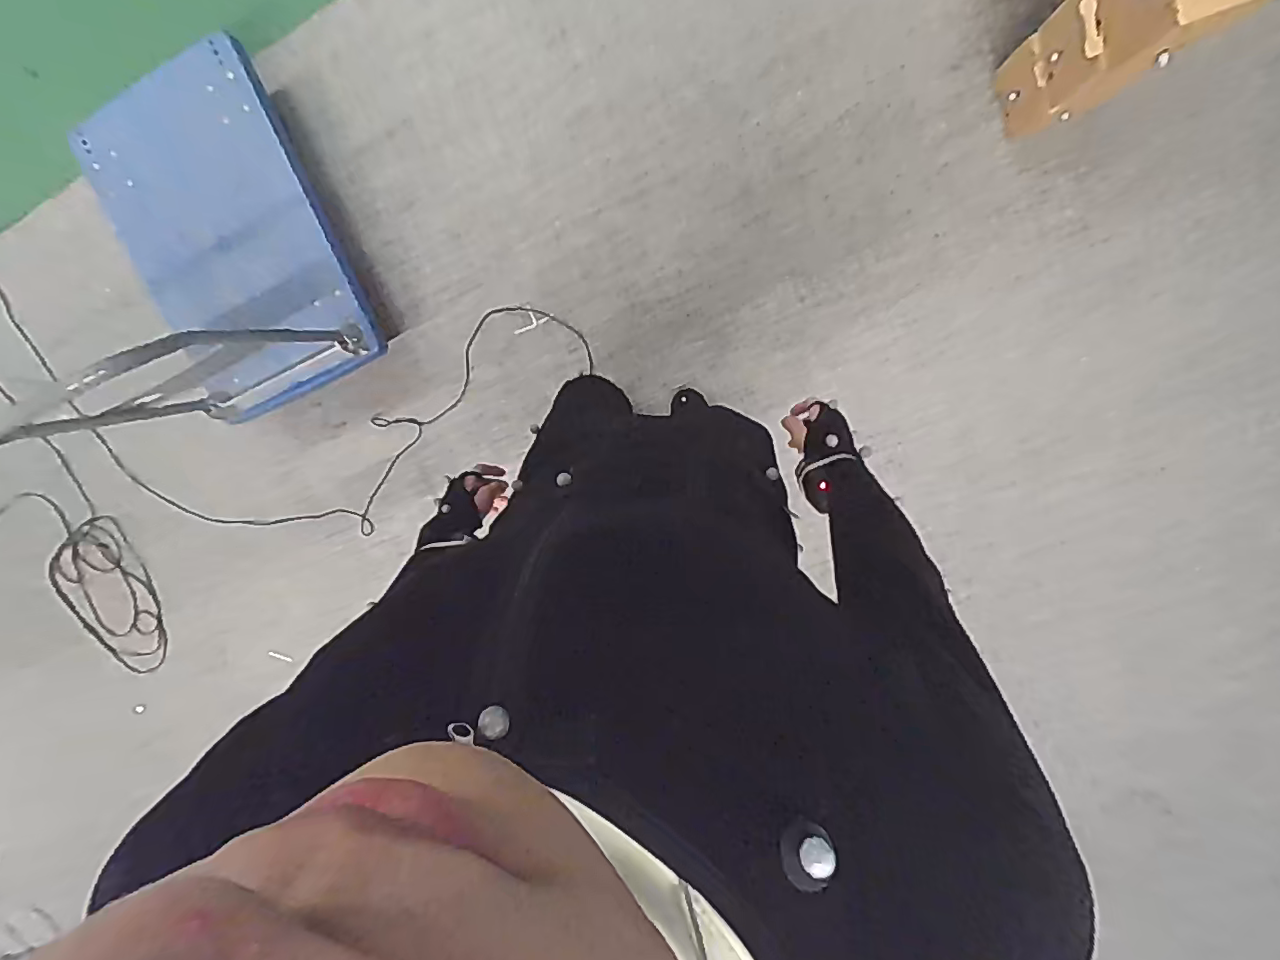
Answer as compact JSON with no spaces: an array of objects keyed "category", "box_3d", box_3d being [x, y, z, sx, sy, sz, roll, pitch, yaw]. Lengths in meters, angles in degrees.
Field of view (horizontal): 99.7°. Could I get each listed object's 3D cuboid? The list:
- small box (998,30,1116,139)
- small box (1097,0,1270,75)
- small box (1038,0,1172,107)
[{"category":"small box","box_3d":[0.946,-0.914,1.224,0.179,0.176,0.168,-19,100,12]},{"category":"small box","box_3d":[0.913,-0.838,0.906,0.168,0.176,0.179,-15,101,11]},{"category":"small box","box_3d":[0.933,-0.881,1.063,0.179,0.176,0.168,-14,100,11]}]
